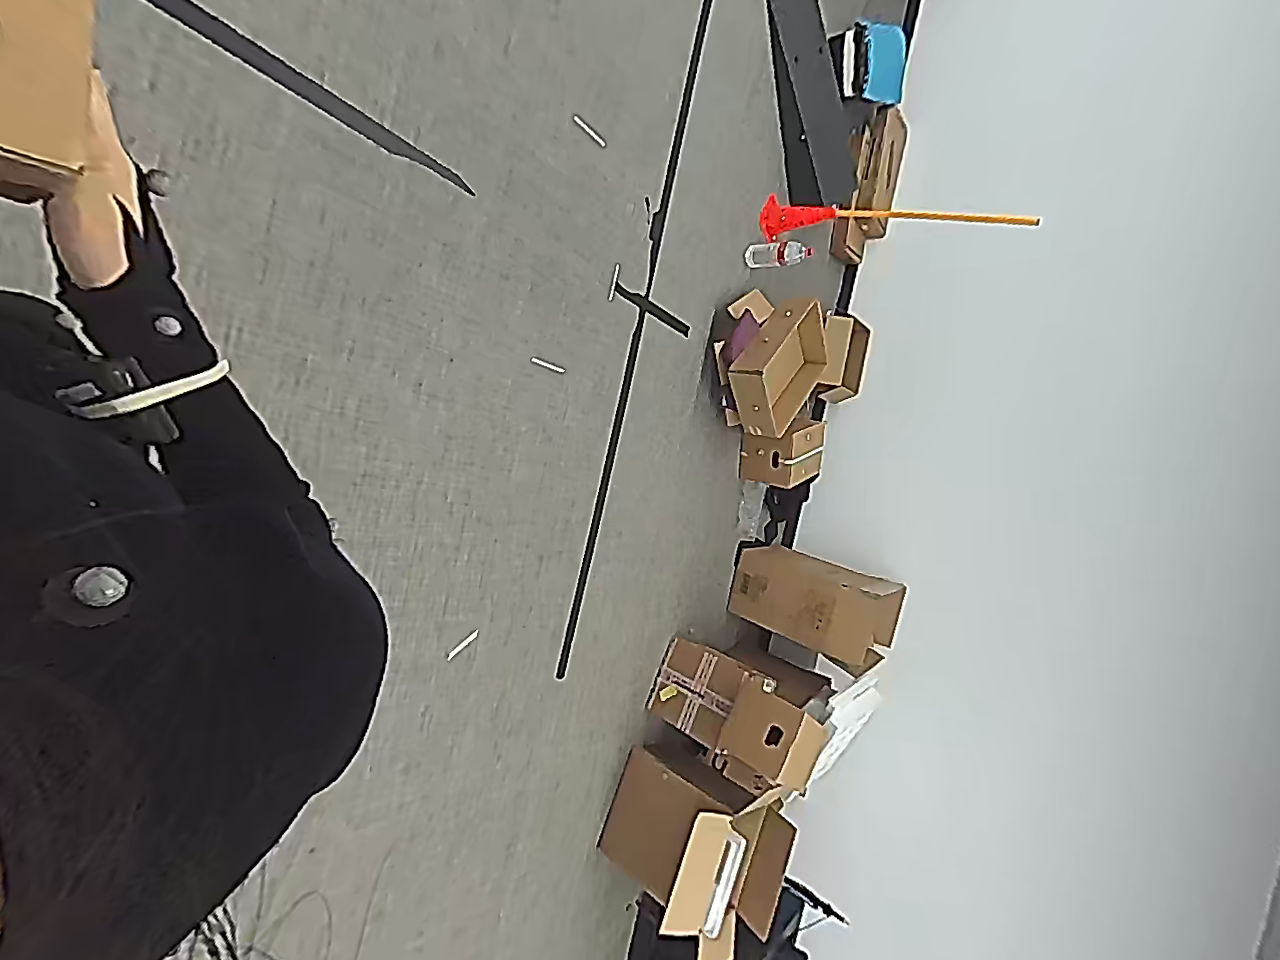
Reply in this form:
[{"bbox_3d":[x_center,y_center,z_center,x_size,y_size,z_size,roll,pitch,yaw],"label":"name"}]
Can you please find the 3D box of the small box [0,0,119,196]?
[{"bbox_3d":[-0.334,-0.233,0.213,0.168,0.176,0.179,-1,104,-55],"label":"small box"}]
